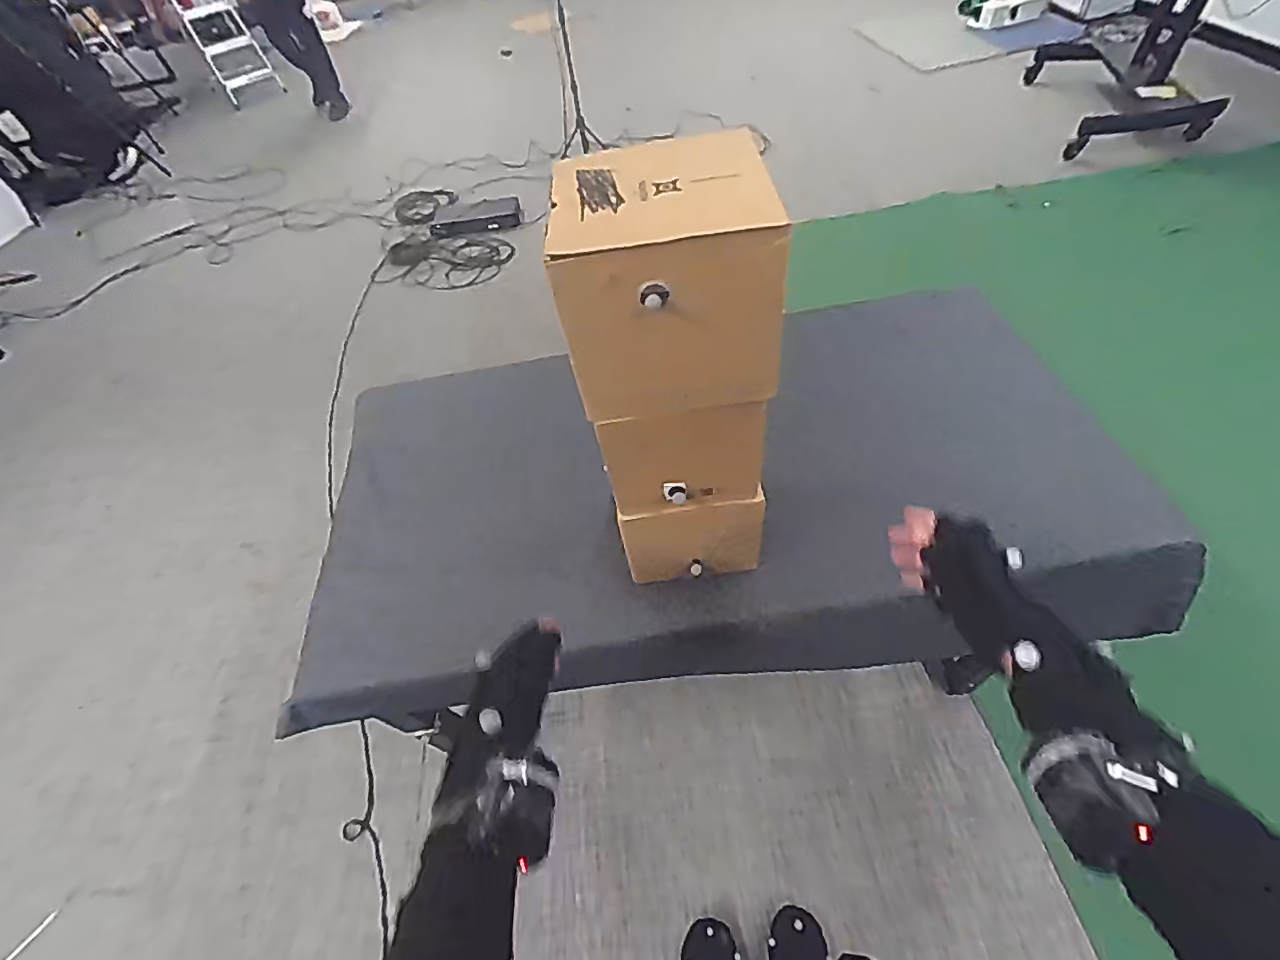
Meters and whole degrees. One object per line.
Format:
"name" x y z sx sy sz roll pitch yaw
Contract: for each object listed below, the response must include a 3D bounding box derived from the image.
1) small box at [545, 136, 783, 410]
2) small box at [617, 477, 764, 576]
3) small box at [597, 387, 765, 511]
"small box" 0.023 -0.180 0.495 0.179 0.176 0.168 -6 52 3
"small box" 0.062 0.018 0.752 0.179 0.176 0.168 -8 52 2
"small box" 0.041 -0.087 0.629 0.168 0.176 0.179 -10 54 3
